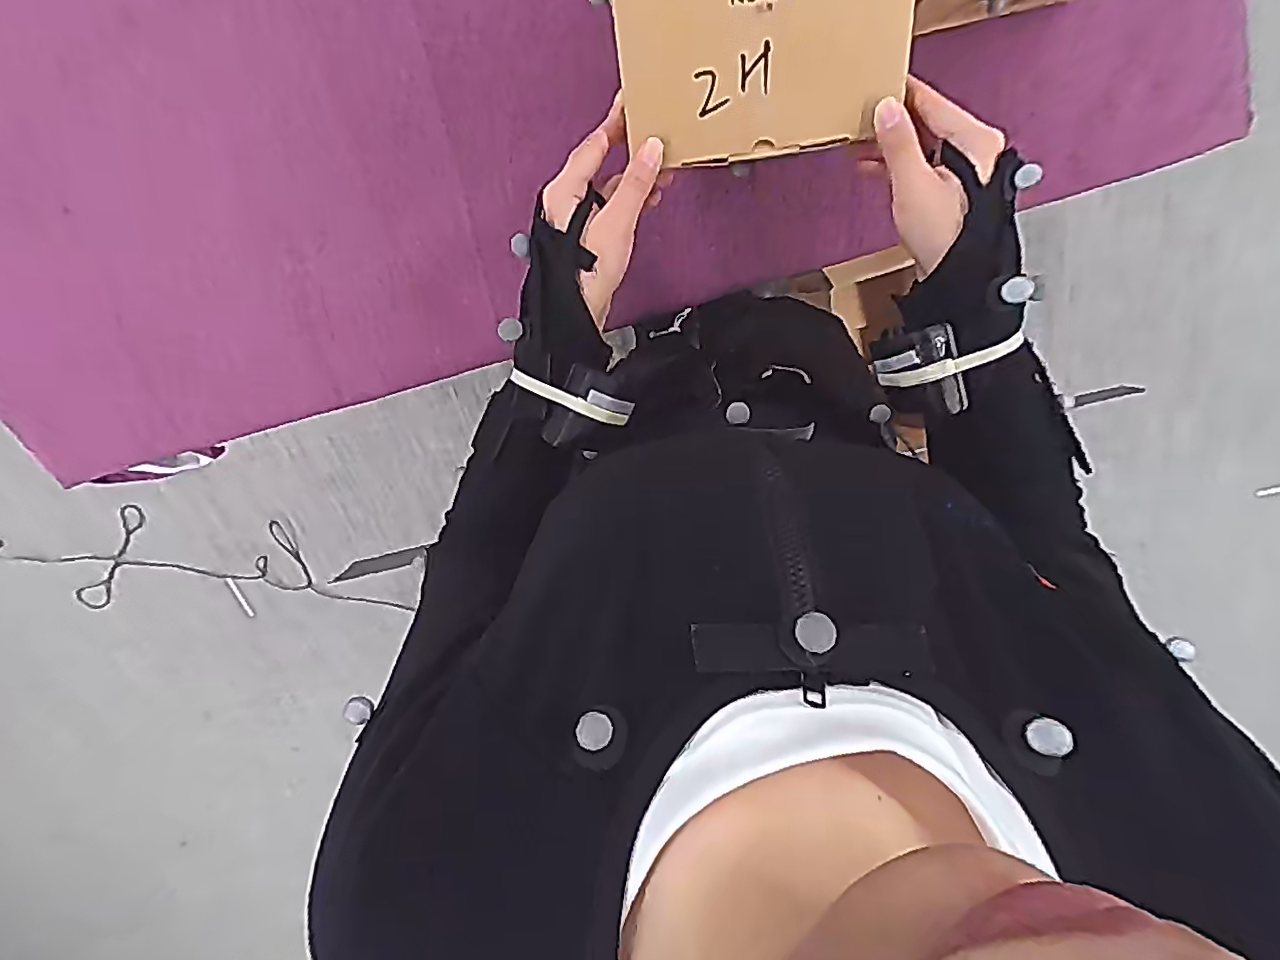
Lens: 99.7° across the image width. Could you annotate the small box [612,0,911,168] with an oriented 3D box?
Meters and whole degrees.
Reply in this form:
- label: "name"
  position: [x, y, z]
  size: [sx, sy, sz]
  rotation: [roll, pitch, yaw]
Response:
- label: "small box"
  position: [0.066, -0.317, 0.358]
  size: [0.168, 0.176, 0.179]
  rotation: [-5, 121, 6]
